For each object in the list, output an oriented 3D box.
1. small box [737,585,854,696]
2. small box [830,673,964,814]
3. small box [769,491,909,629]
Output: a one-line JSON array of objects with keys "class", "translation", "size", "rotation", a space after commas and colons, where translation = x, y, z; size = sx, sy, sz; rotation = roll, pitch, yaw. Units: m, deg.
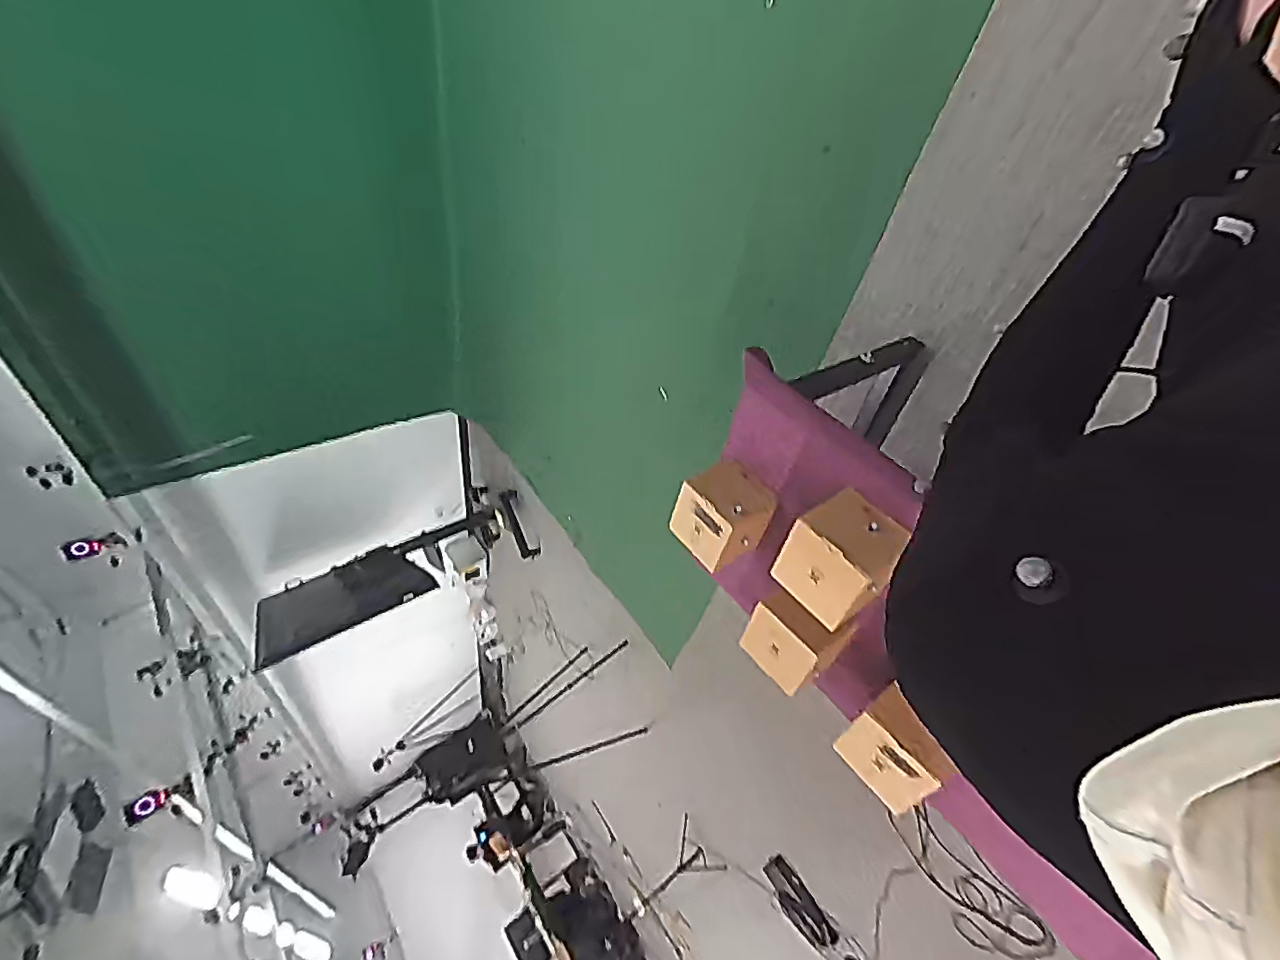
[{"class": "small box", "translation": [0.356, 0.350, 1.241], "size": [0.168, 0.176, 0.179], "rotation": [43, 139, 31]}, {"class": "small box", "translation": [0.530, 0.526, 1.098], "size": [0.168, 0.176, 0.179], "rotation": [44, 141, 31]}, {"class": "small box", "translation": [0.392, 0.153, 1.069], "size": [0.168, 0.176, 0.179], "rotation": [44, 141, 31]}]
